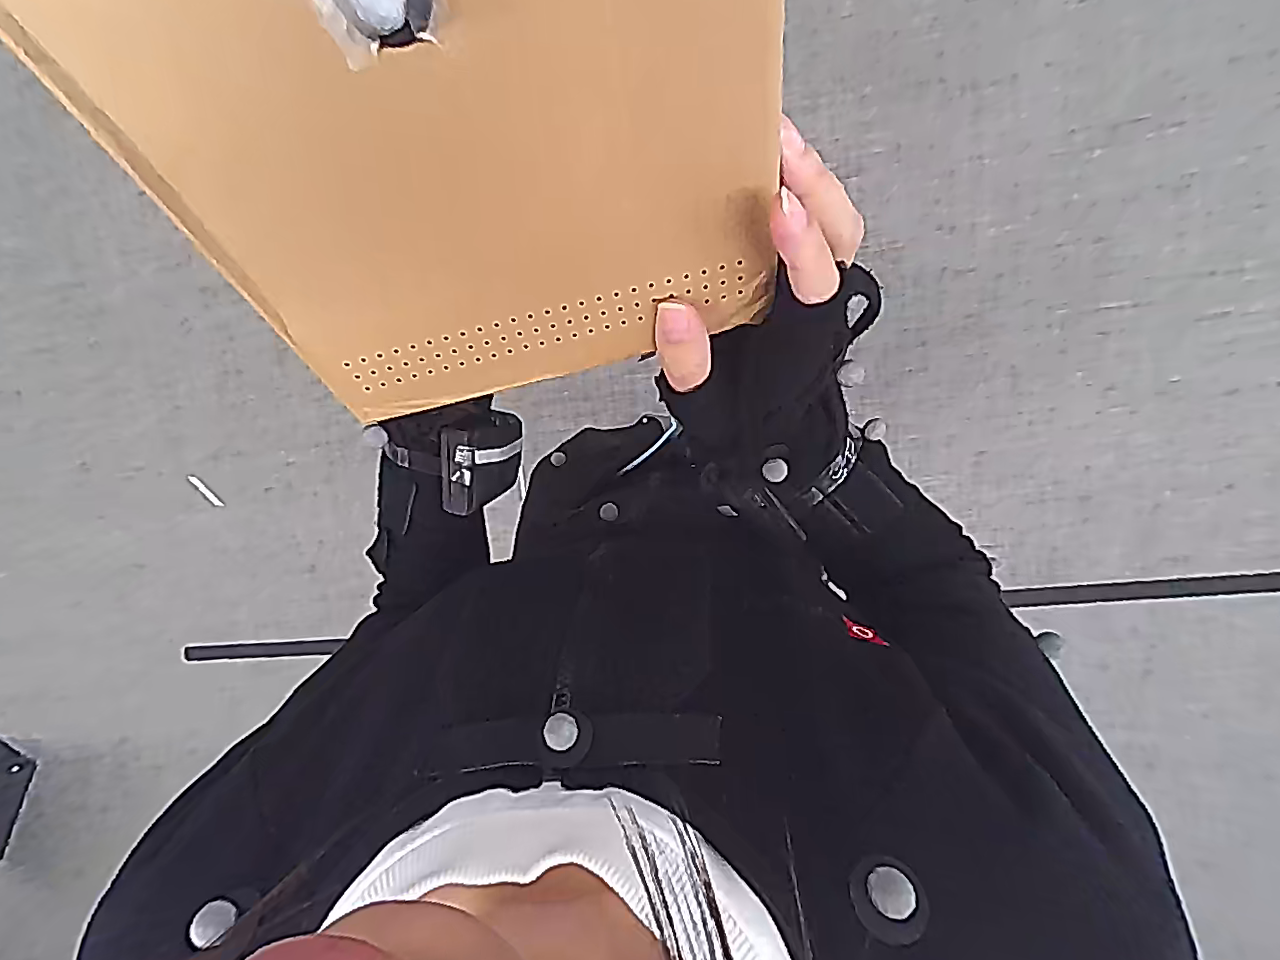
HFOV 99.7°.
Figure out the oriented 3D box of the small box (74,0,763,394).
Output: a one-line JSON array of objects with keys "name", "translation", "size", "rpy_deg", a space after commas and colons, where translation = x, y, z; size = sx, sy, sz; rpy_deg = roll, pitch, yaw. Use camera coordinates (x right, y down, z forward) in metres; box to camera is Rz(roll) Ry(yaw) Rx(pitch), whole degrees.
[{"name": "small box", "translation": [-0.055, -0.158, 0.219], "size": [0.179, 0.176, 0.168], "rpy_deg": [-13, 55, 4]}]
